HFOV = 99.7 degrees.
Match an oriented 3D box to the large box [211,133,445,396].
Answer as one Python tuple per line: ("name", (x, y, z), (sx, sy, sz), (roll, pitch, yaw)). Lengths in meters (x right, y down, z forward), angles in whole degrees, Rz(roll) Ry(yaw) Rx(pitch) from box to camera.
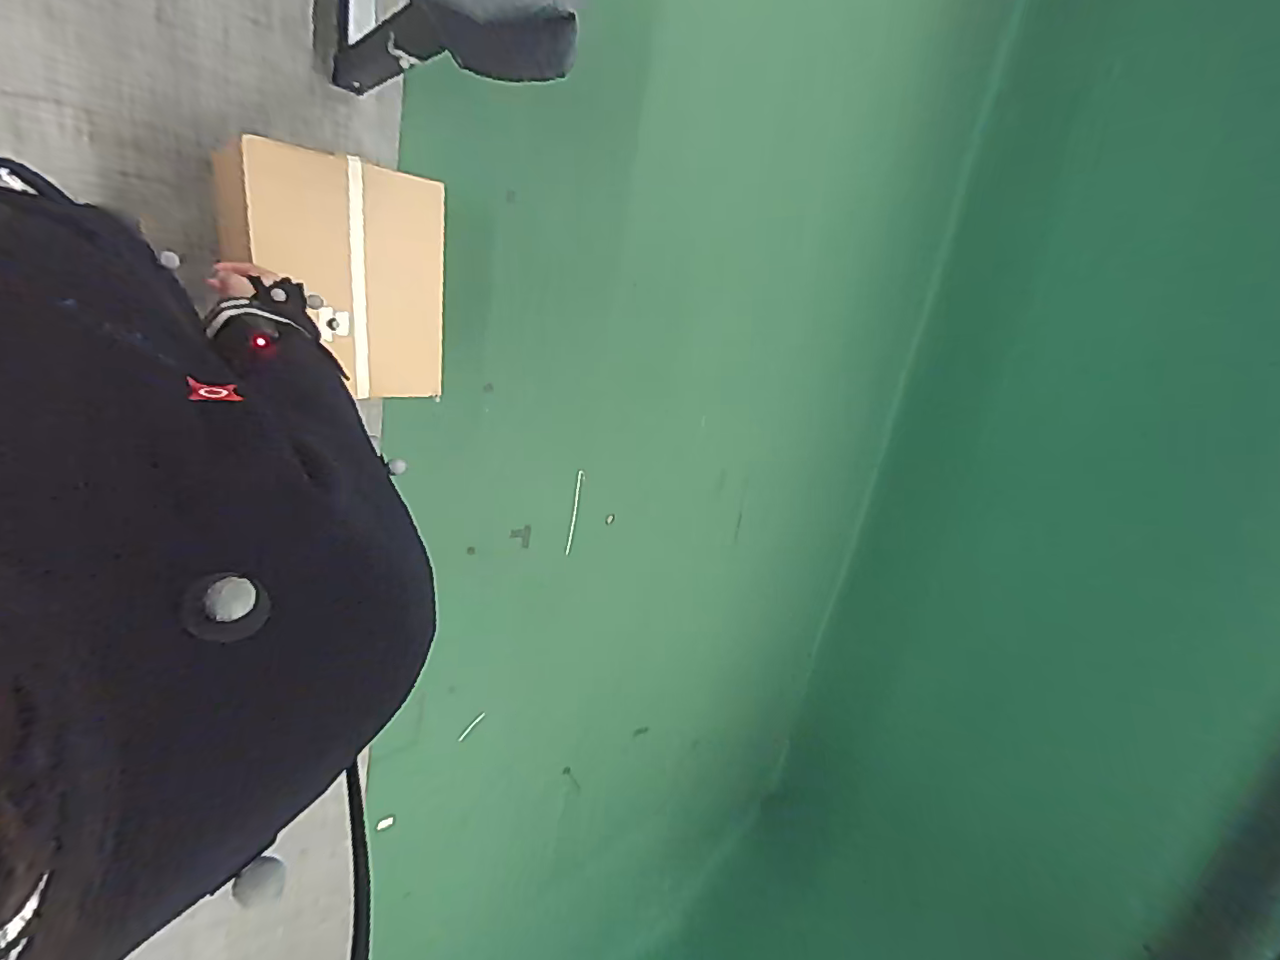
("large box", (-0.599, -0.399, 1.056), (0.320, 0.320, 0.408), (-10, 116, -43))
